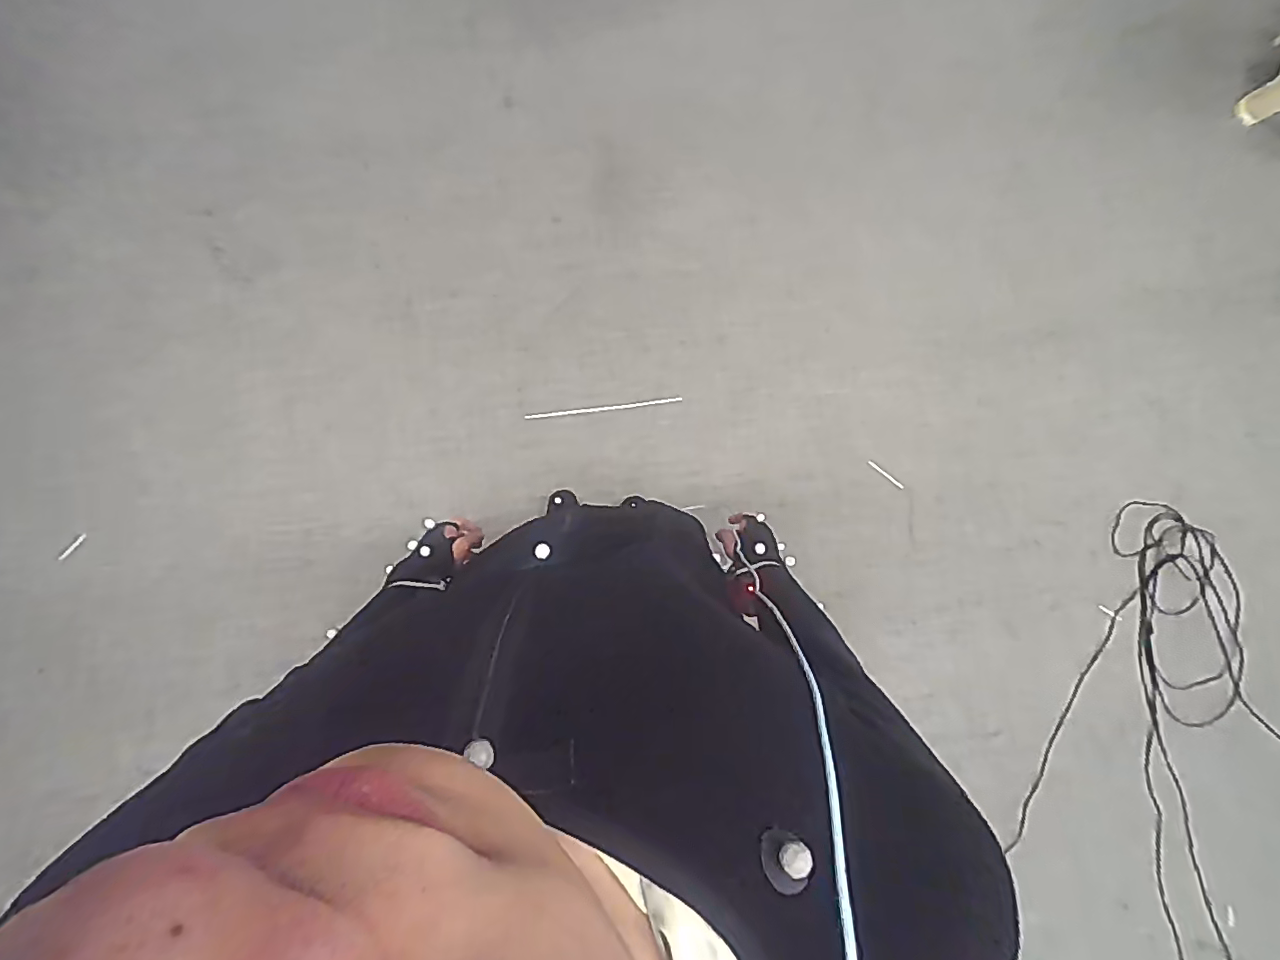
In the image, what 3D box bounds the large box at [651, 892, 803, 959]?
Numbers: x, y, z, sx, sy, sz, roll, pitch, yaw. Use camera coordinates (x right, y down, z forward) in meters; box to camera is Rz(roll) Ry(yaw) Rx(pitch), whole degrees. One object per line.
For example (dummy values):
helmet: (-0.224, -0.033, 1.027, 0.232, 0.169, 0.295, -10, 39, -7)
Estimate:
large box: (0.259, 1.450, 1.515, 0.408, 0.320, 0.320, -9, 90, -3)
